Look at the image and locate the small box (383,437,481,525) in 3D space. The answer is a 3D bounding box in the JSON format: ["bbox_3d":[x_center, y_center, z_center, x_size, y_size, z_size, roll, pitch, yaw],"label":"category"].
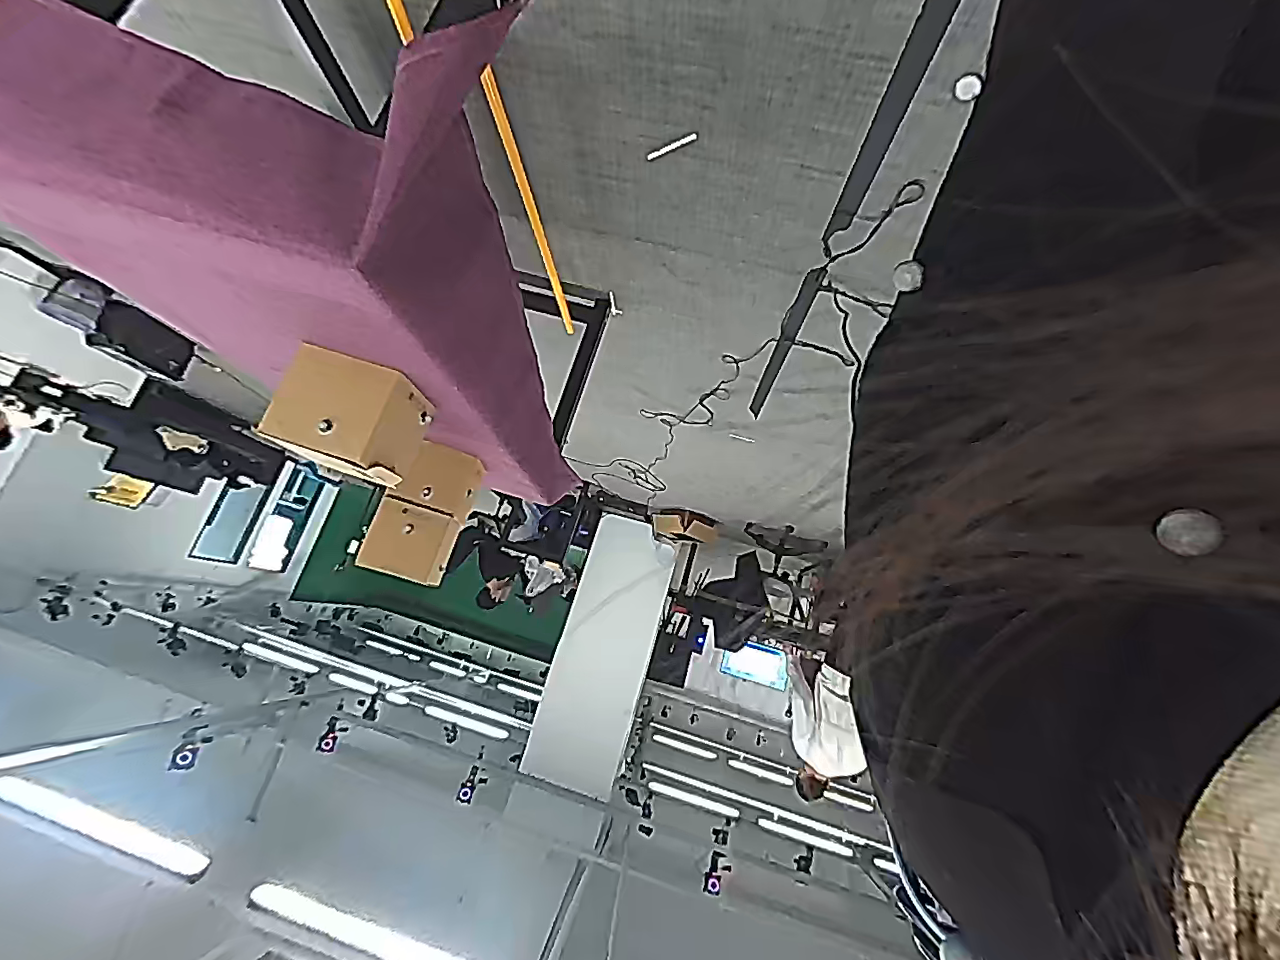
[{"bbox_3d":[-0.518,0.003,1.380,0.179,0.176,0.168,19,165,-5],"label":"small box"}]

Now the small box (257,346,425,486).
[{"bbox_3d":[-0.494,-0.107,0.929,0.179,0.176,0.168,18,166,3],"label":"small box"}]

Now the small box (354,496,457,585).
[{"bbox_3d":[-0.566,0.153,1.333,0.168,0.176,0.179,18,165,-7],"label":"small box"}]
